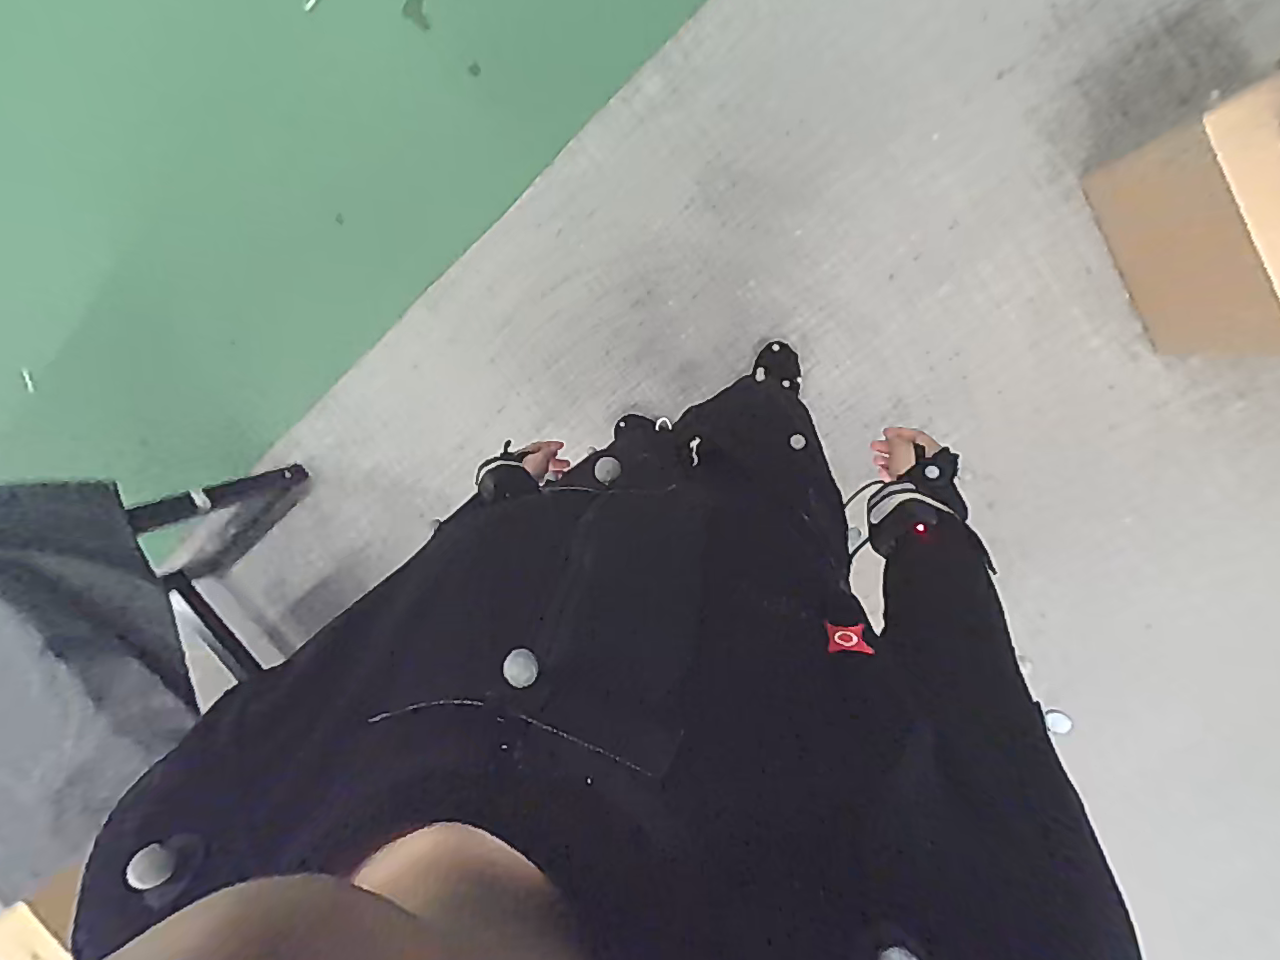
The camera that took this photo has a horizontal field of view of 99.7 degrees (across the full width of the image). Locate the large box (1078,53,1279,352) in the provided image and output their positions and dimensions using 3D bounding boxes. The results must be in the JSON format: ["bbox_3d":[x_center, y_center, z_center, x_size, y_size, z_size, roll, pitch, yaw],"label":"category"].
[{"bbox_3d":[1.062,-0.468,0.907,0.320,0.320,0.408,-30,97,17],"label":"large box"}]
